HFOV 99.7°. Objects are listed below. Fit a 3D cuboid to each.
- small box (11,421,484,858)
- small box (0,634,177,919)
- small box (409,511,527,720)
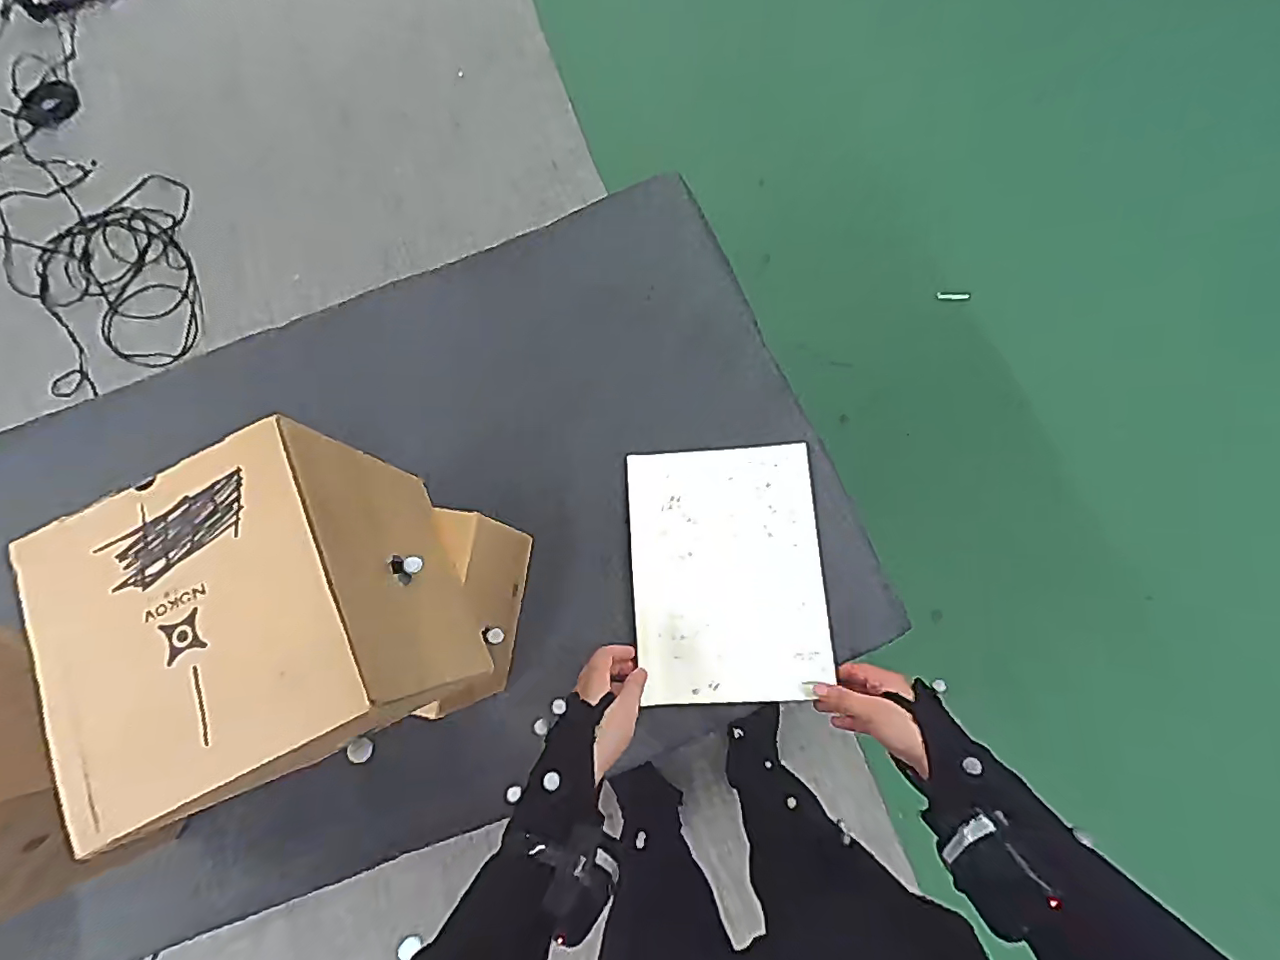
[{"bbox_3d":[-0.232,0.092,0.359,0.168,0.176,0.179,-27,77,0],"label":"small box"},{"bbox_3d":[-0.538,0.254,0.520,0.179,0.176,0.168,27,81,10],"label":"small box"},{"bbox_3d":[-0.224,0.115,0.523,0.179,0.176,0.168,7,78,8],"label":"small box"}]
